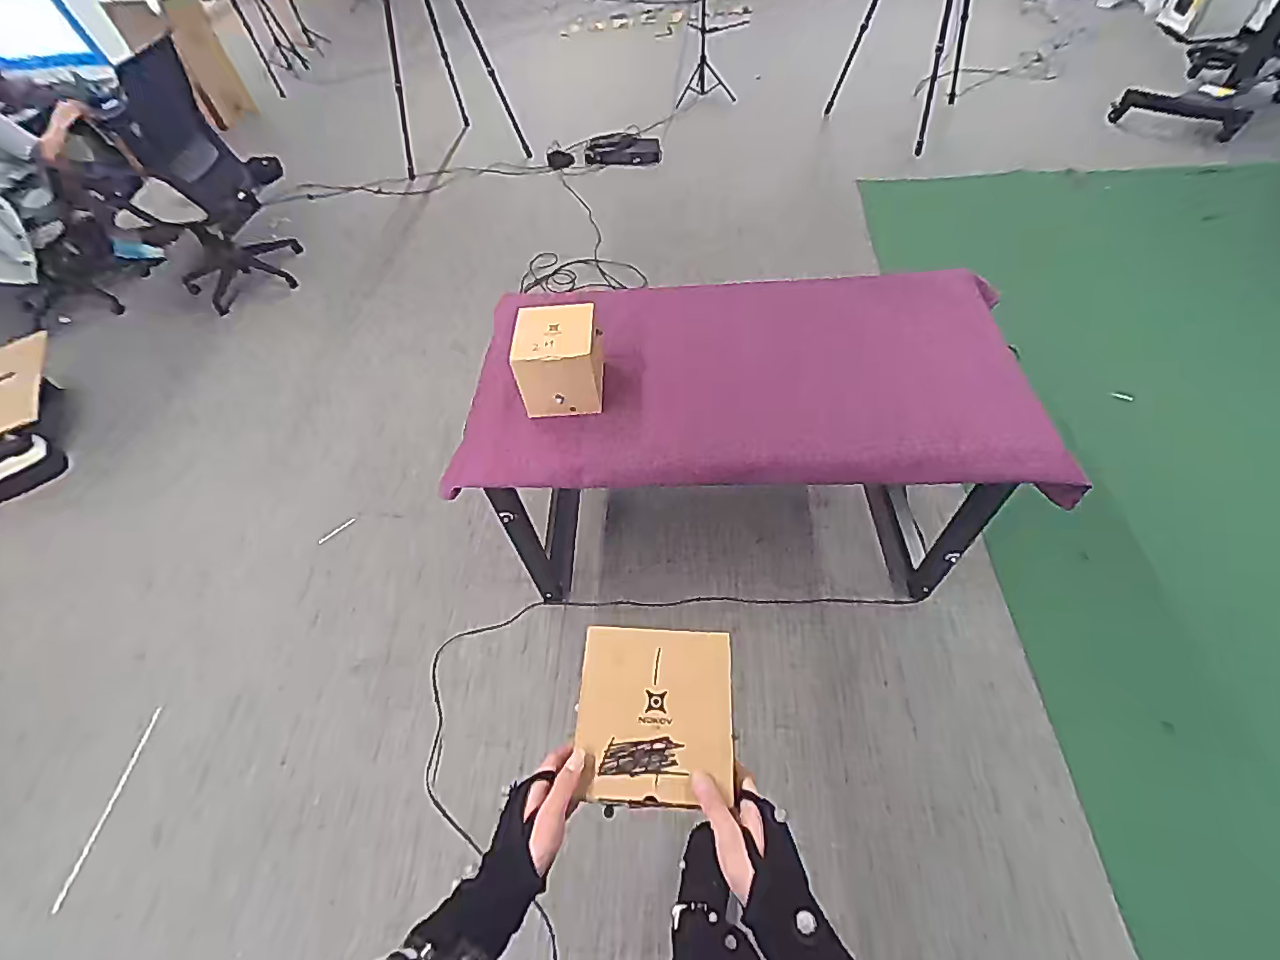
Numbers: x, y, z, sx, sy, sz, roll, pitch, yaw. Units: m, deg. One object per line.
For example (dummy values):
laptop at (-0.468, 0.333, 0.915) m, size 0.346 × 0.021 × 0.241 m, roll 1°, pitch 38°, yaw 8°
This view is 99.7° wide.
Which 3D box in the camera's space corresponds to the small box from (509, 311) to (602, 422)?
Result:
small box at (-0.177, -0.248, 1.191) m, size 0.168 × 0.176 × 0.179 m, roll -3°, pitch 53°, yaw 3°

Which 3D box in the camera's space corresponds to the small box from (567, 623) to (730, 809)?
small box at (0.017, 0.284, 0.642) m, size 0.168 × 0.176 × 0.179 m, roll 2°, pitch 57°, yaw 3°
